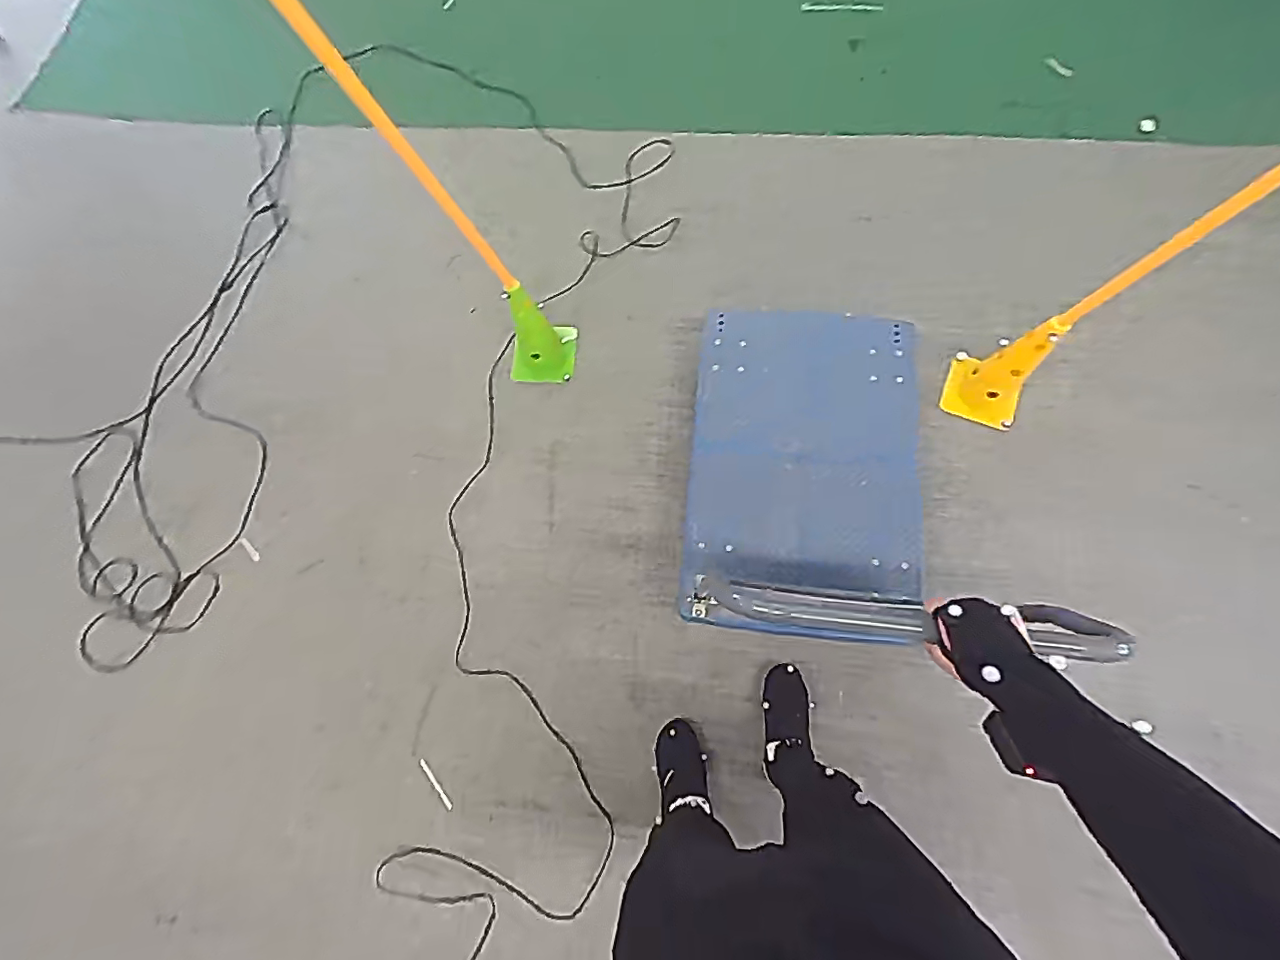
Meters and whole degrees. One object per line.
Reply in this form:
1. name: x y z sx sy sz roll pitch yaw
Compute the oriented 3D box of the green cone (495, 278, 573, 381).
1. green cone: -0.333 -0.459 1.571 0.202 0.368 0.200 0 72 6
